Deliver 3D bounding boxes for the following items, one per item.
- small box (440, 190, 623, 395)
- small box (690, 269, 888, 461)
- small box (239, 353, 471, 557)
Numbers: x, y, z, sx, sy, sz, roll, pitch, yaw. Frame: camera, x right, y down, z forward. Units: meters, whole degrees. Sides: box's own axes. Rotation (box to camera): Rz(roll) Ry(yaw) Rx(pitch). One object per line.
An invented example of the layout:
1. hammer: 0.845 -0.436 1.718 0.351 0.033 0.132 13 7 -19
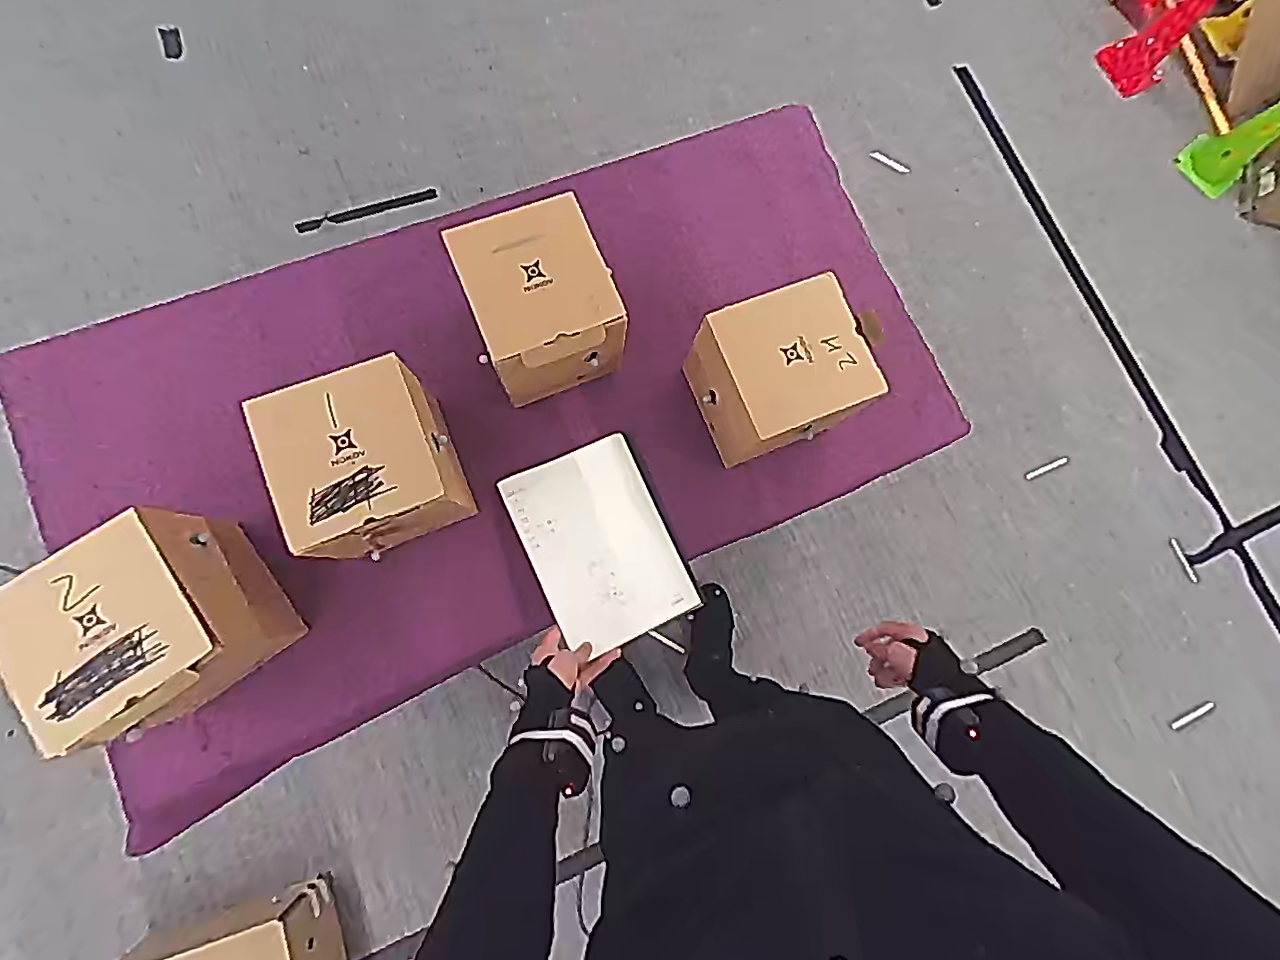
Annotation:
1. small box: -0.131 -0.224 0.696 0.168 0.176 0.179 -22 83 -9
2. small box: 0.176 -0.137 0.709 0.179 0.176 0.168 -21 83 -8
3. small box: -0.319 -0.018 0.643 0.168 0.176 0.179 -22 82 -9
